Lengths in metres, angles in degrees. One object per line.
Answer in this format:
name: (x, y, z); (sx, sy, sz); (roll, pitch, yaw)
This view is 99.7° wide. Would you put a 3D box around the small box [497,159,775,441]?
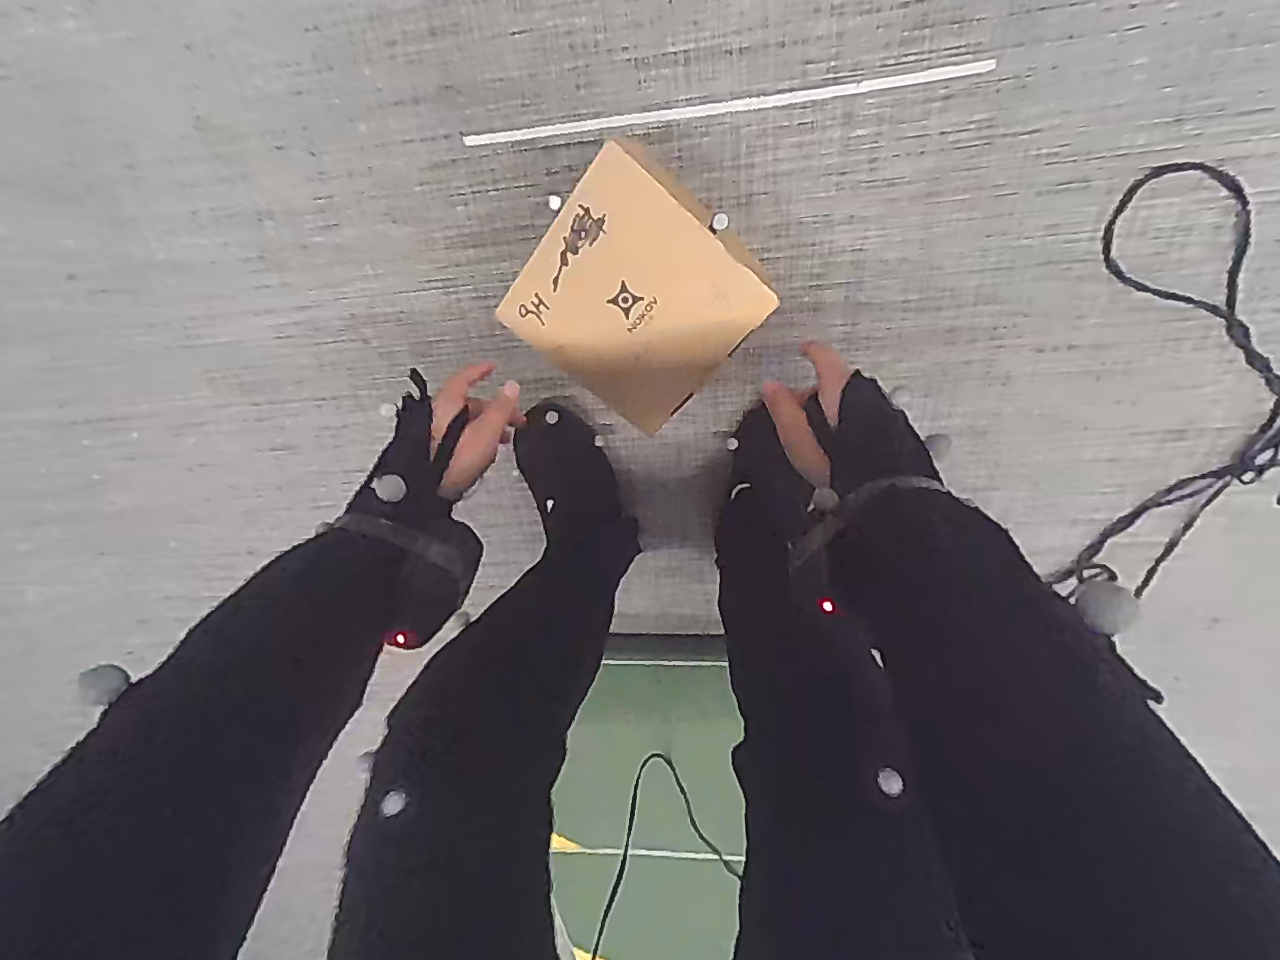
small box: (0.001, -0.176, 0.513); (0.179, 0.176, 0.168); (37, 117, -16)
